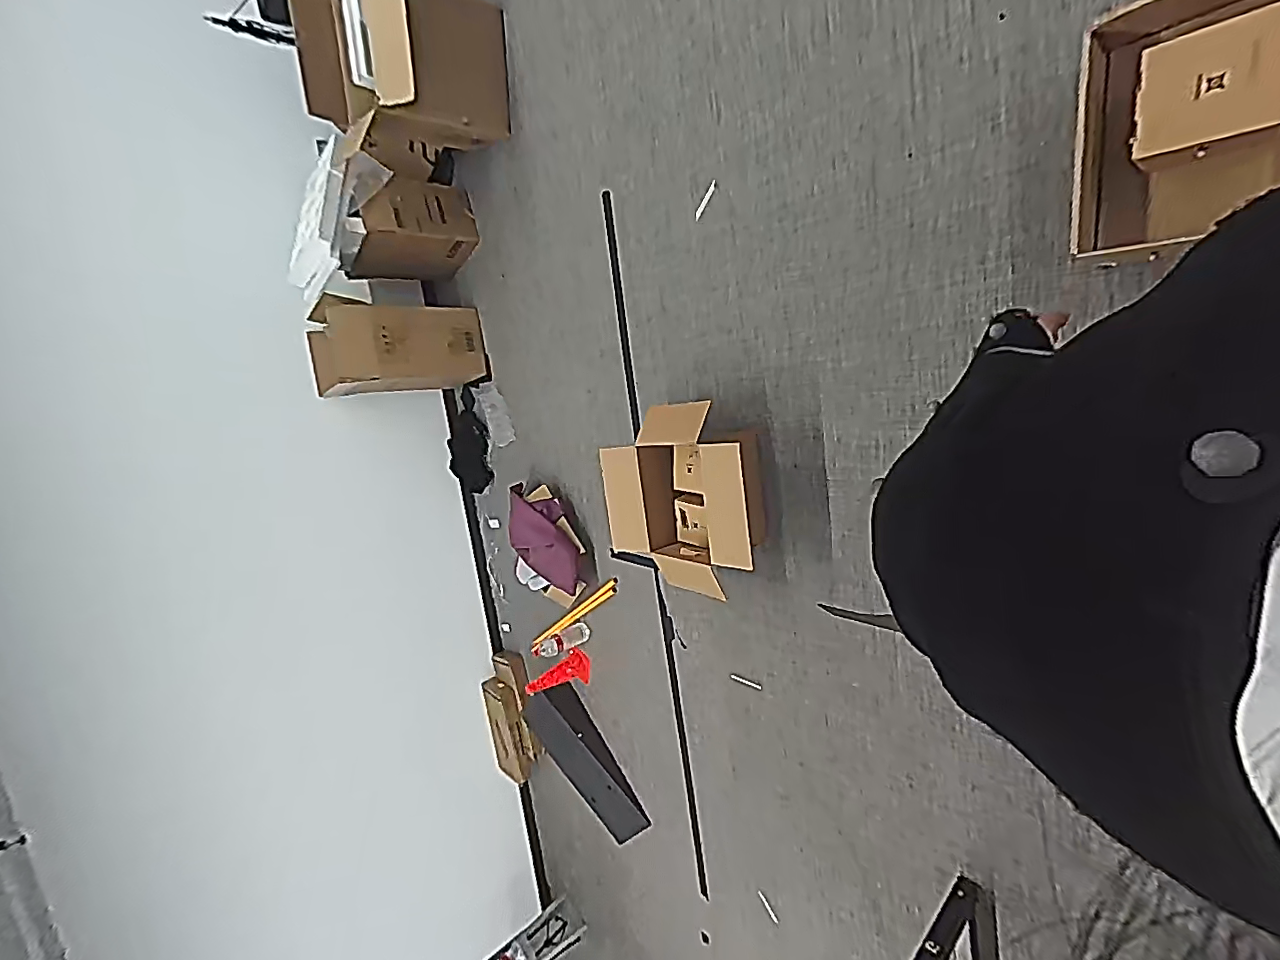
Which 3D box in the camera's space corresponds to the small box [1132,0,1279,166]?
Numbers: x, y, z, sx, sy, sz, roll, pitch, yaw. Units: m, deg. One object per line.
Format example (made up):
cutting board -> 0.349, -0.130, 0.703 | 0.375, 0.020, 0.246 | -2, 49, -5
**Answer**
small box -> 0.948, -0.640, 0.891 | 0.179, 0.176, 0.168 | 8, 110, 47
